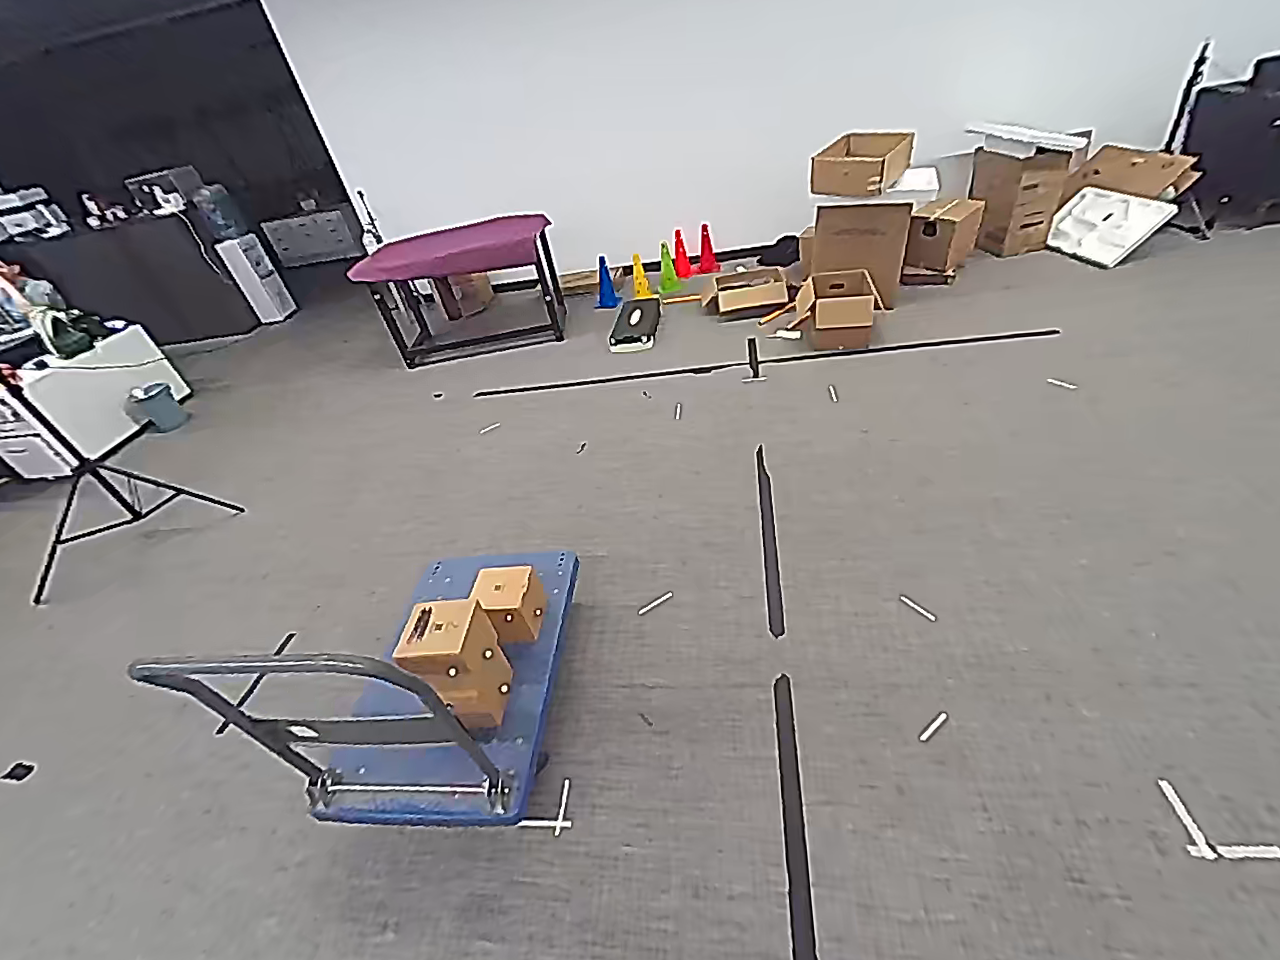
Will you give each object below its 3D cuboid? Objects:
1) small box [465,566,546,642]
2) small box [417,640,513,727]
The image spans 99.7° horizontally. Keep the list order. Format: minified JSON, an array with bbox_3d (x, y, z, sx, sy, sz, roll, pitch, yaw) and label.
[{"bbox_3d":[-0.412,0.391,1.692,0.179,0.176,0.168,-5,39,9],"label":"small box"},{"bbox_3d":[-0.473,0.564,1.489,0.179,0.176,0.168,-6,39,8],"label":"small box"}]
